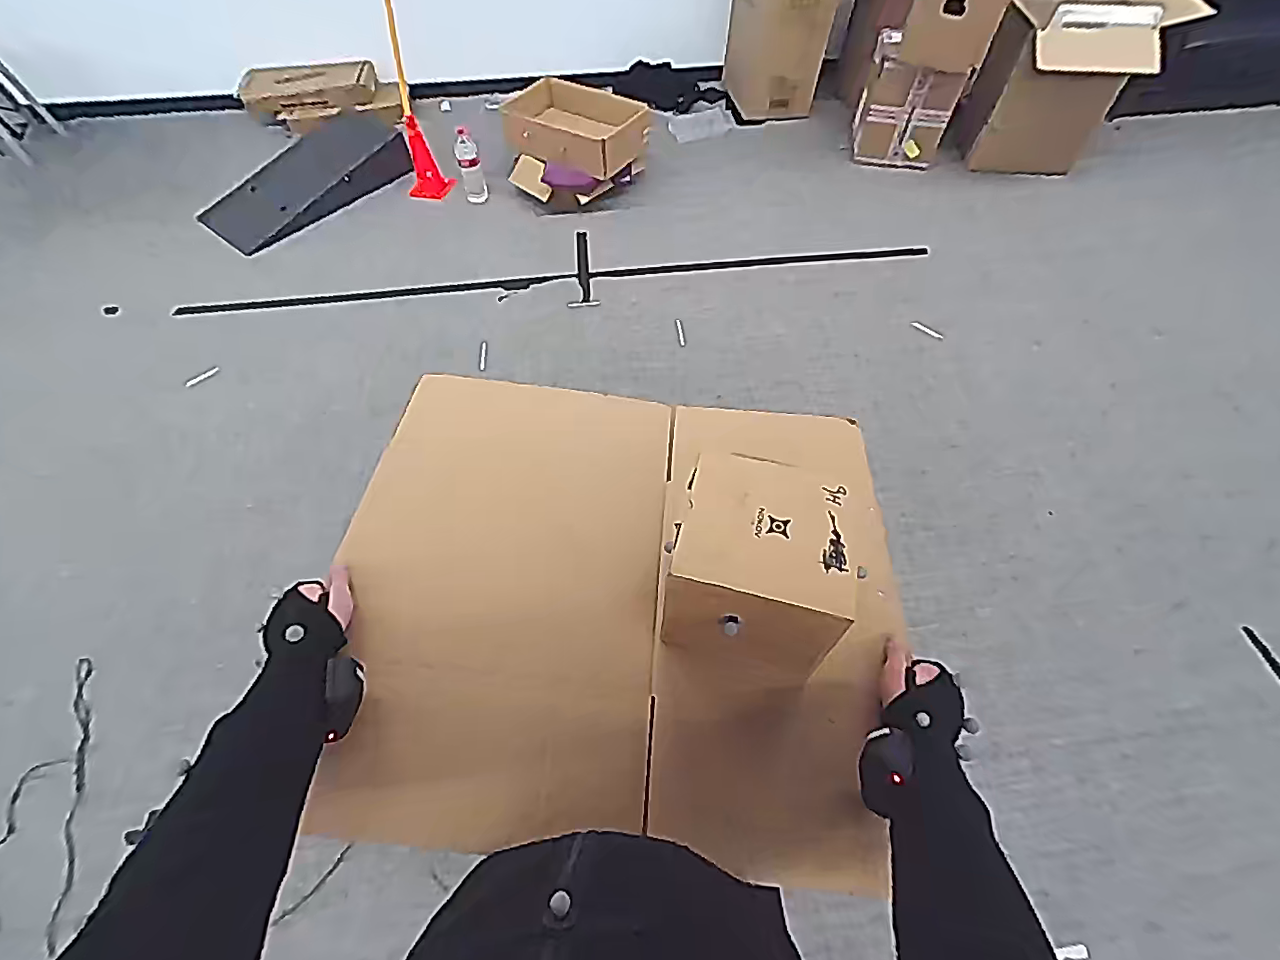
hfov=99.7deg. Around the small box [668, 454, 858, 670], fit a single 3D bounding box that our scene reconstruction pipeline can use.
[{"bbox_3d":[0.132,0.097,0.614,0.179,0.176,0.168,11,54,9],"label":"small box"}]
